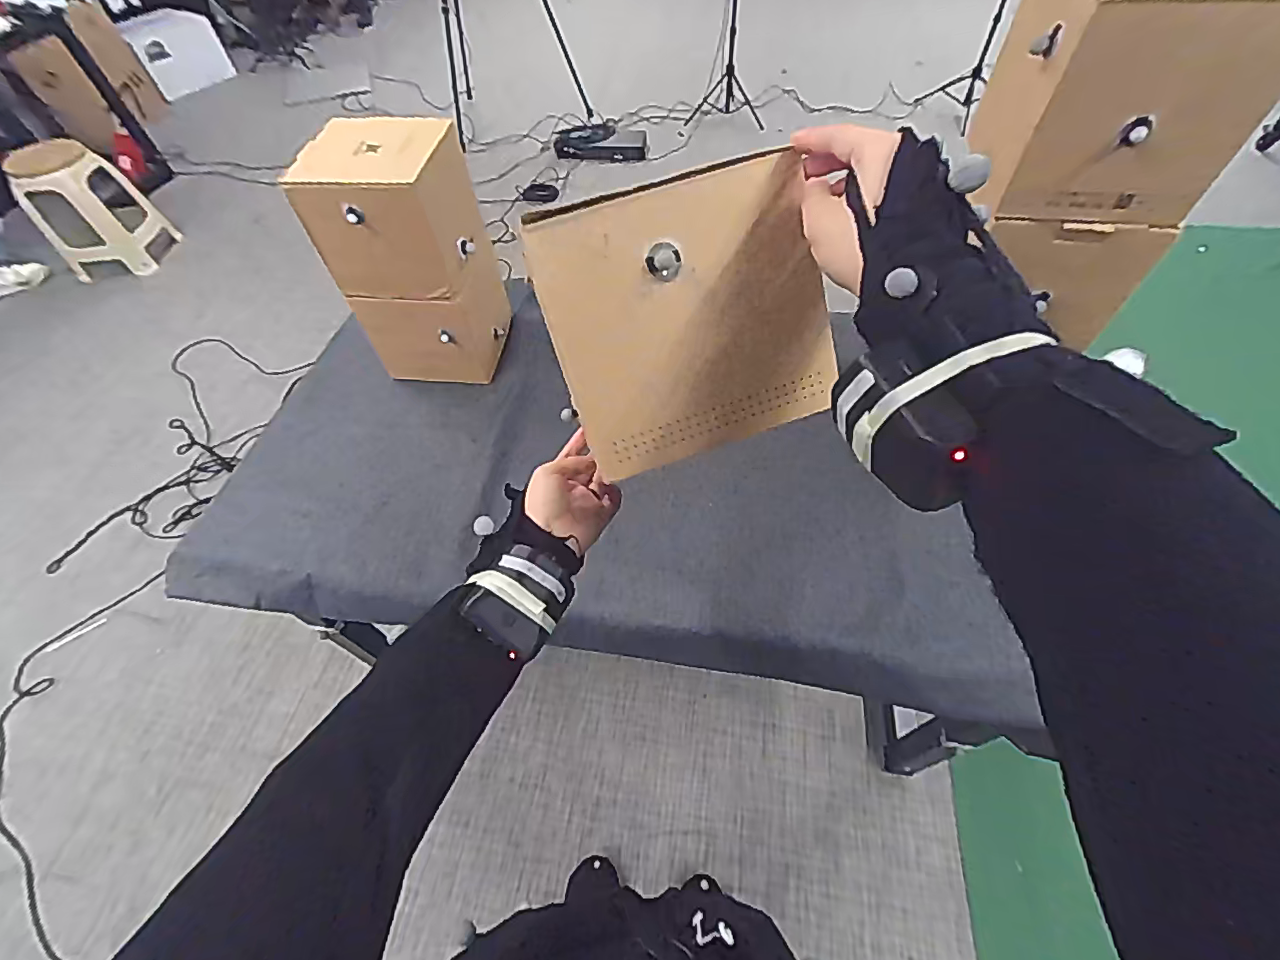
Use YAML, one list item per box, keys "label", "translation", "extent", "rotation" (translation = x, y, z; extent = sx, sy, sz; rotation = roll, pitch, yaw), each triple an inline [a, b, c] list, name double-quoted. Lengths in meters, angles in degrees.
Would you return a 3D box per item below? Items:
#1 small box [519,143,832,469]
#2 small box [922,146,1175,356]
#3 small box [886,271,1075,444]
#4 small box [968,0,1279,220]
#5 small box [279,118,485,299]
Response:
- label: "small box"
  translation: [0.022, -0.120, 0.415]
  extent: [0.179, 0.176, 0.168]
  rotation: [-17, 18, -4]
- label: "small box"
  translation: [0.448, -0.267, 0.631]
  extent: [0.168, 0.176, 0.179]
  rotation: [9, 57, 9]
- label: "small box"
  translation: [0.460, -0.178, 0.768]
  extent: [0.168, 0.176, 0.179]
  rotation: [8, 57, 9]
- label: "small box"
  translation: [0.432, -0.362, 0.496]
  extent: [0.168, 0.176, 0.179]
  rotation: [7, 56, 8]
- label: "small box"
  translation: [-0.338, -0.371, 0.749]
  extent: [0.179, 0.176, 0.168]
  rotation: [4, 57, 4]
